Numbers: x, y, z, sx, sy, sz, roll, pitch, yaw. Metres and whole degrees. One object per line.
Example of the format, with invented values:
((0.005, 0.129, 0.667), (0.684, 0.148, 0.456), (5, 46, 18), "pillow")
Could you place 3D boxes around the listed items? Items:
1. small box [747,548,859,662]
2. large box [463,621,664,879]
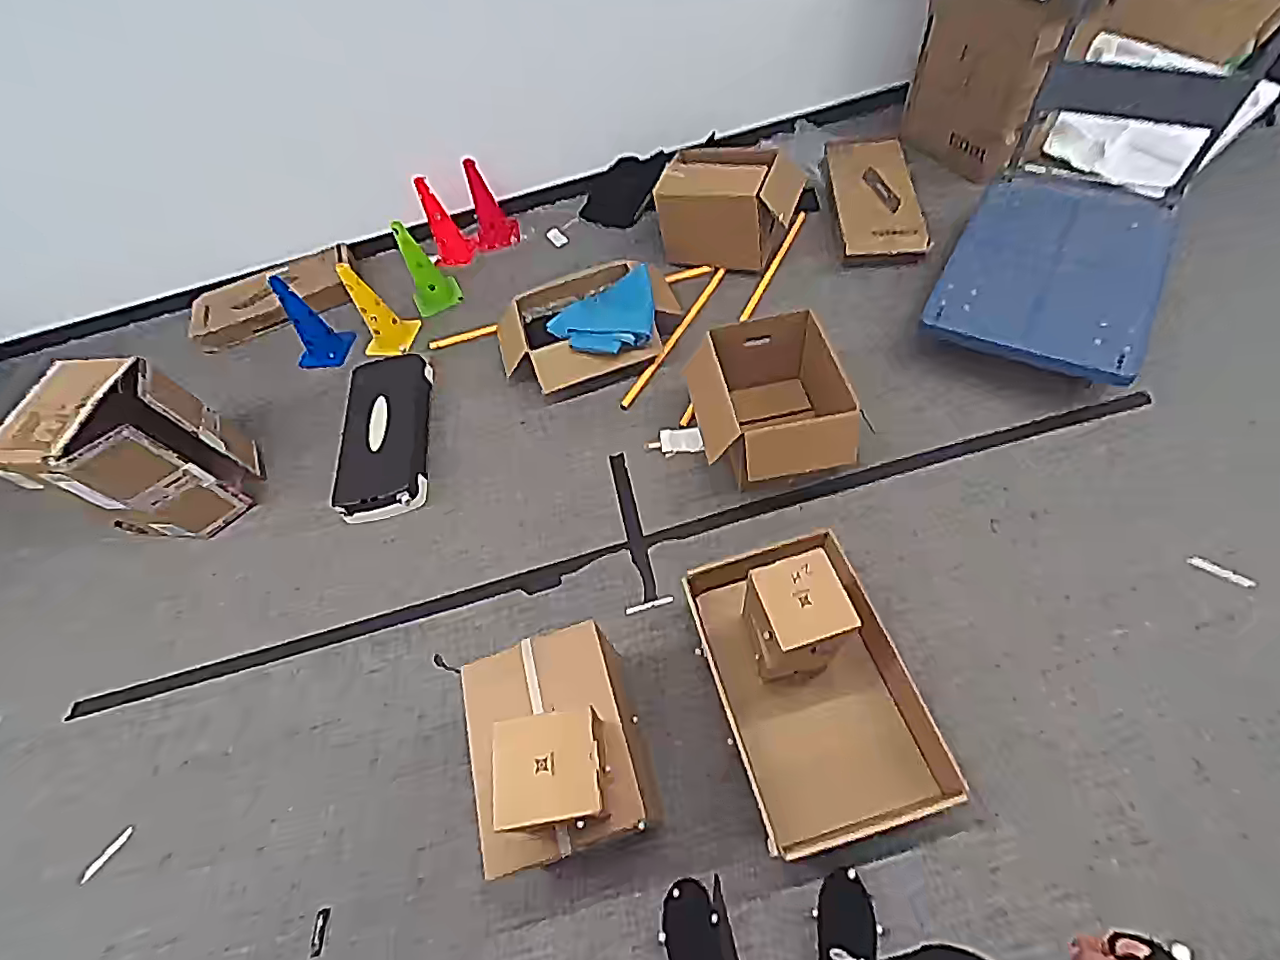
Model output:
((0.336, 0.273, 1.149), (0.168, 0.176, 0.179), (-17, 59, -3), "small box")
((-0.164, 0.591, 1.212), (0.320, 0.320, 0.408), (-20, 58, -2), "large box")
